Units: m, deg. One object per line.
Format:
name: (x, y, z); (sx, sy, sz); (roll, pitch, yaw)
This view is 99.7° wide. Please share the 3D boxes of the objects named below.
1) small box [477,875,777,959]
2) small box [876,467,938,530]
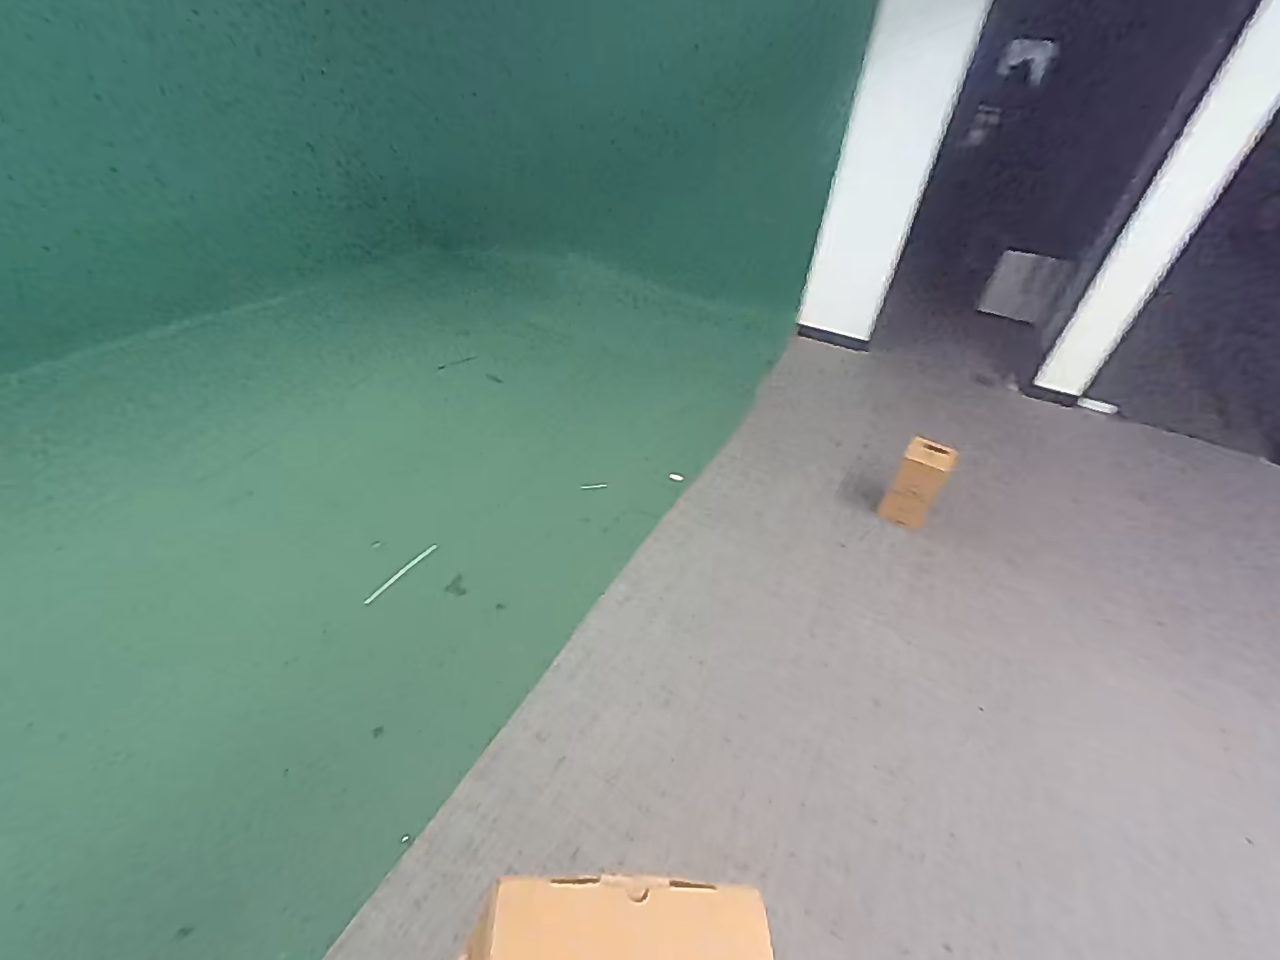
small box: (-0.019, 0.360, 0.312); (0.168, 0.176, 0.179); (12, 38, -12)
small box: (1.119, 0.080, 2.275); (0.168, 0.176, 0.179); (27, 45, 24)
